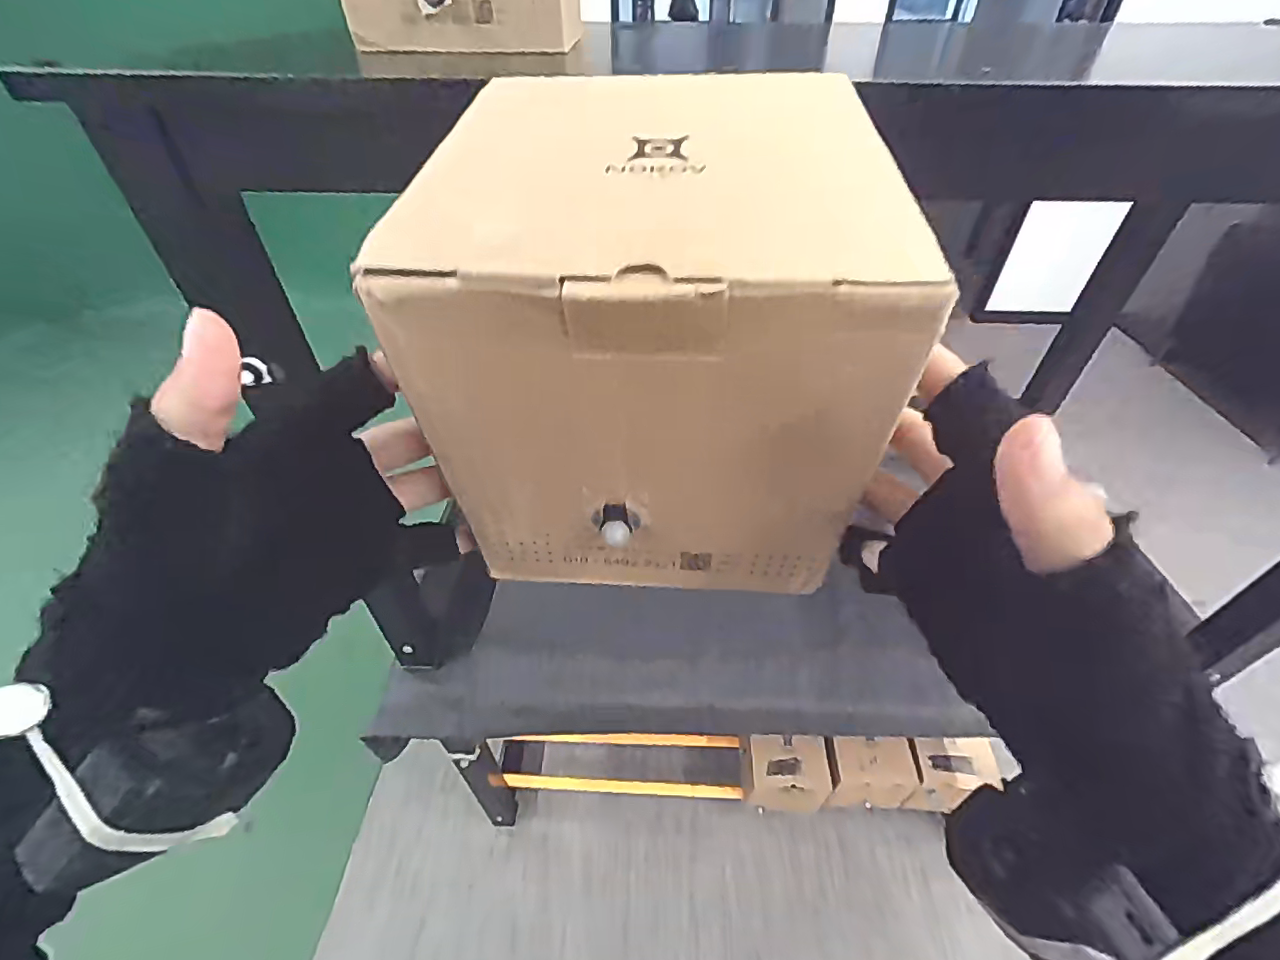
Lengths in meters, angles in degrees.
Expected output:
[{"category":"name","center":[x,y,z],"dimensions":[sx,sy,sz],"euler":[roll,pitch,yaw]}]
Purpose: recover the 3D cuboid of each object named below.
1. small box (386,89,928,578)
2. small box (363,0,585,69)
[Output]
[{"category":"small box","center":[0.010,-0.071,0.274],"dimensions":[0.168,0.176,0.179],"euler":[2,51,4]},{"category":"small box","center":[-0.136,-0.450,0.439],"dimensions":[0.168,0.176,0.179],"euler":[-1,43,0]}]
